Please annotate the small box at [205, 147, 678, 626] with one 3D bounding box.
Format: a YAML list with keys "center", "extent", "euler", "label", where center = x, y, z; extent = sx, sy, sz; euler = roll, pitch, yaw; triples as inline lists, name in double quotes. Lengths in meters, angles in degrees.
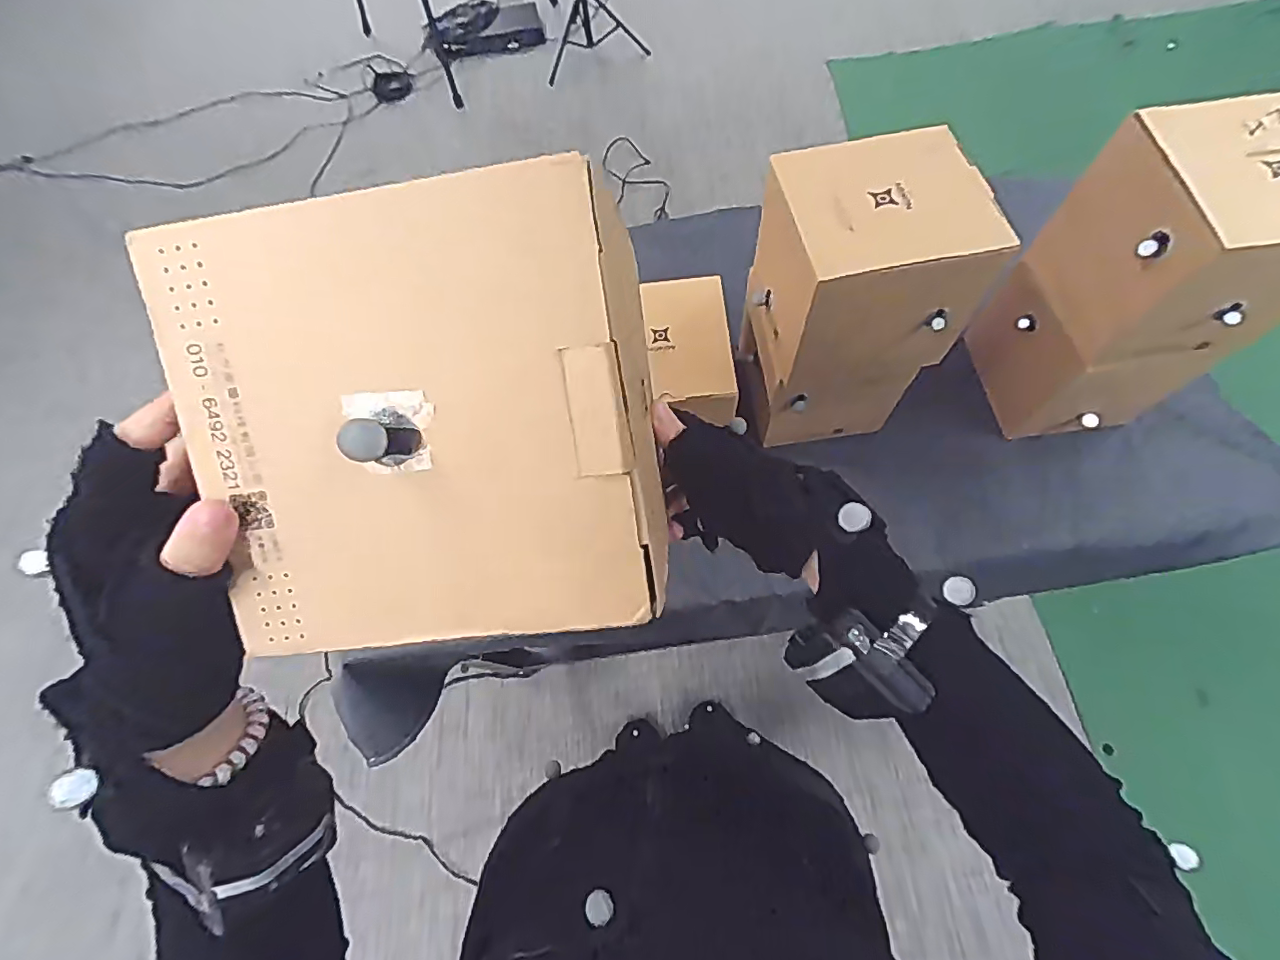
- center: [-0.077, -0.037, 0.282]
  extent: [0.176, 0.179, 0.168]
  euler: [-6, 101, 6]
  label: "small box"

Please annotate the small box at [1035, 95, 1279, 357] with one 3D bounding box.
- center: [0.551, -0.239, 0.542]
  extent: [0.168, 0.176, 0.179]
  euler: [-5, 66, 3]
  label: "small box"

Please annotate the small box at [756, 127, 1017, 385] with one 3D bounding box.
- center: [0.231, -0.221, 0.564]
  extent: [0.179, 0.176, 0.168]
  euler: [-10, 65, 1]
  label: "small box"
